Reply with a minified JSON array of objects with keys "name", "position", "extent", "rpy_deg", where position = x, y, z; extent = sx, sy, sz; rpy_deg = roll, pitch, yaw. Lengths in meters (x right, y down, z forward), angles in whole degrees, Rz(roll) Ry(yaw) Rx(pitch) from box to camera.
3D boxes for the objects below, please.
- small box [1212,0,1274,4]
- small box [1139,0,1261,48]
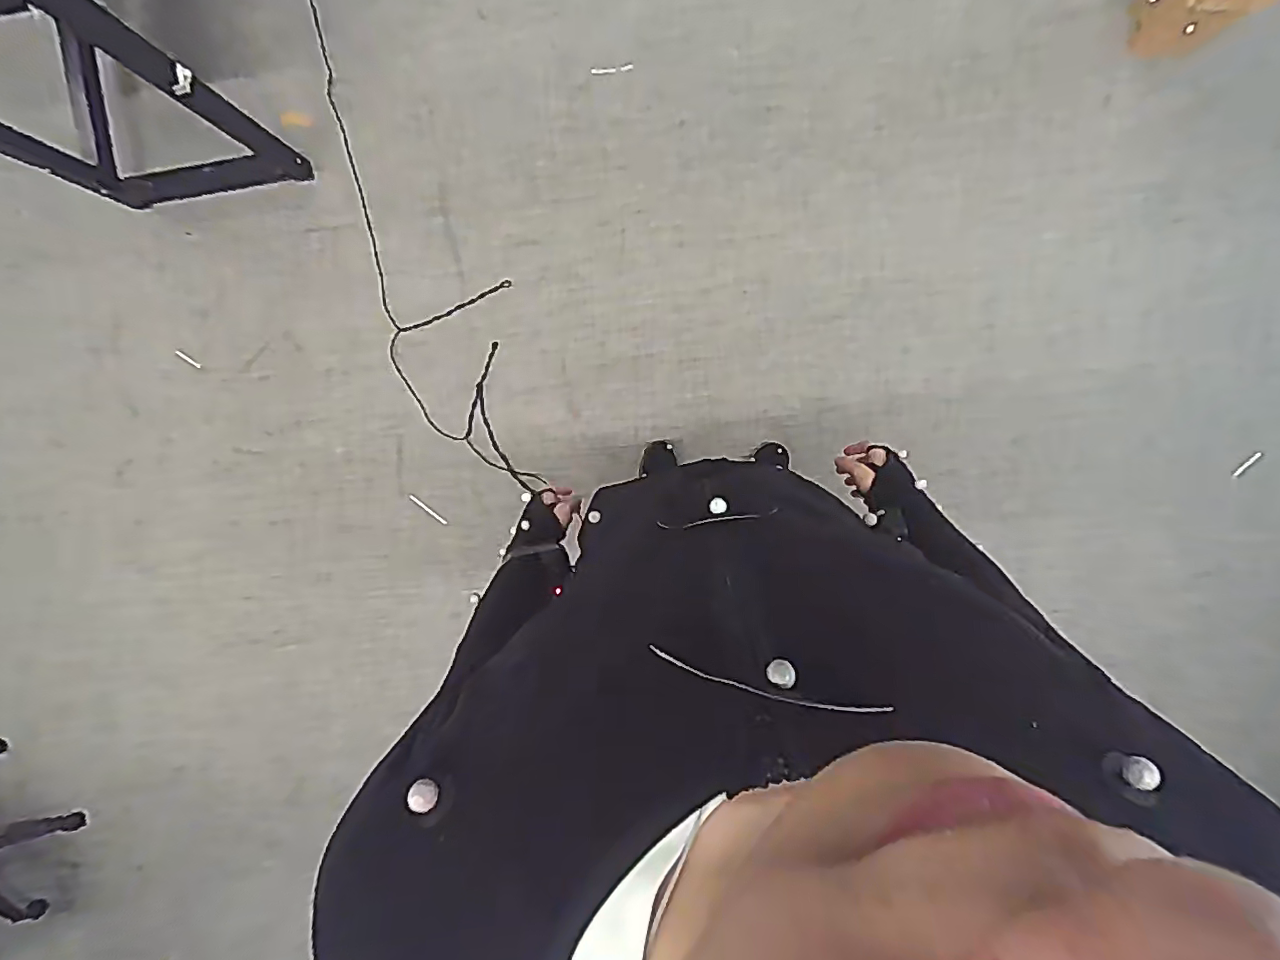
[{"name":"small box","position":[1.420,-1.208,1.201],"extent":[0.168,0.176,0.179],"rpy_deg":[1,95,3]},{"name":"small box","position":[1.421,-1.232,1.363],"extent":[0.179,0.176,0.168],"rpy_deg":[2,96,4]}]
